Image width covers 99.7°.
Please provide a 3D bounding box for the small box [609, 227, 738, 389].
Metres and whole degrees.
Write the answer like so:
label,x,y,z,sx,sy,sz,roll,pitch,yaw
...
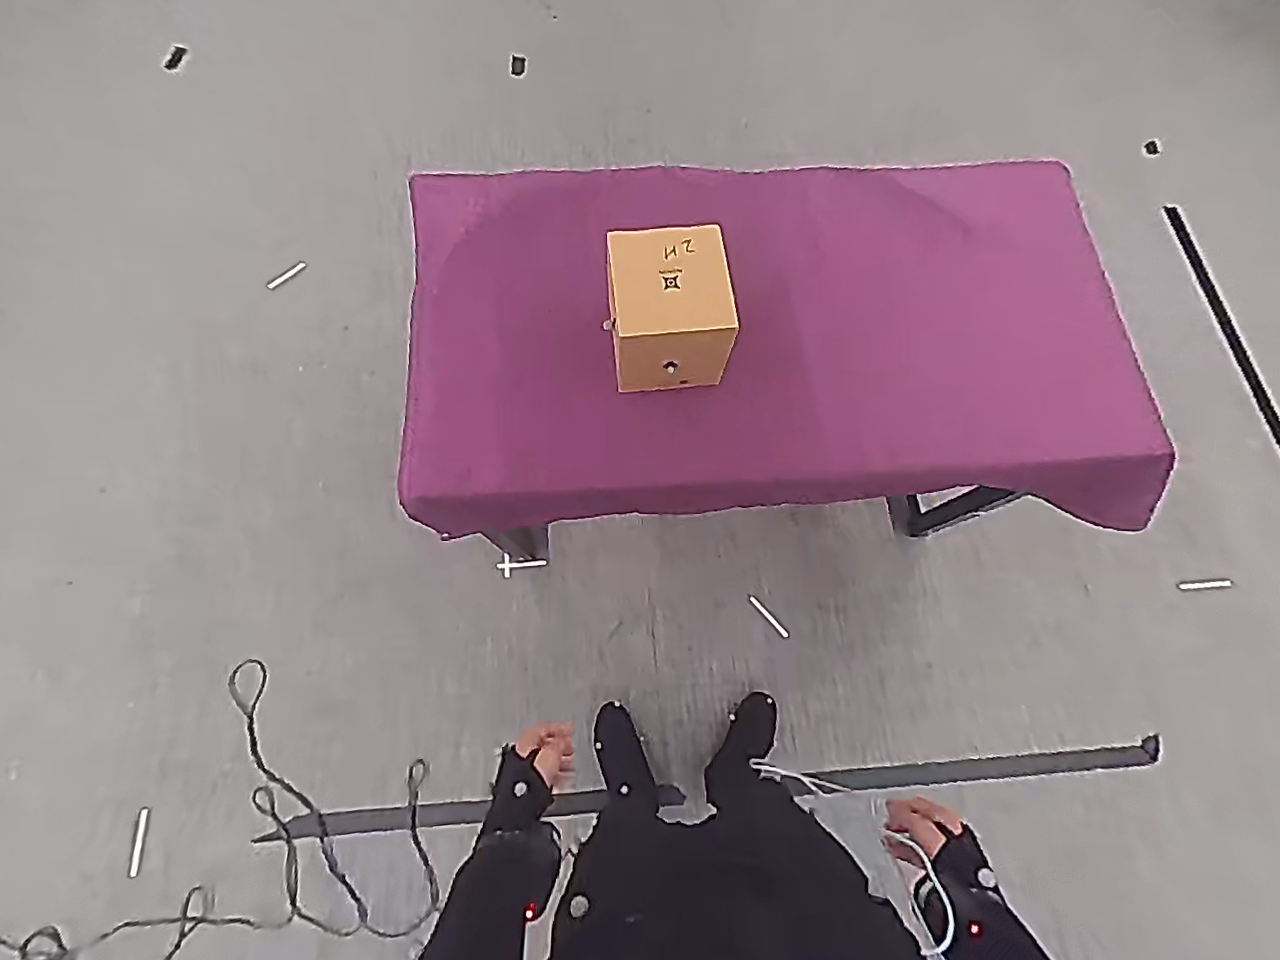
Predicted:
label,x,y,z,sx,sy,sz,roll,pitch,yaw
small box,0.043,-0.249,0.821,0.168,0.176,0.179,-5,72,-4
